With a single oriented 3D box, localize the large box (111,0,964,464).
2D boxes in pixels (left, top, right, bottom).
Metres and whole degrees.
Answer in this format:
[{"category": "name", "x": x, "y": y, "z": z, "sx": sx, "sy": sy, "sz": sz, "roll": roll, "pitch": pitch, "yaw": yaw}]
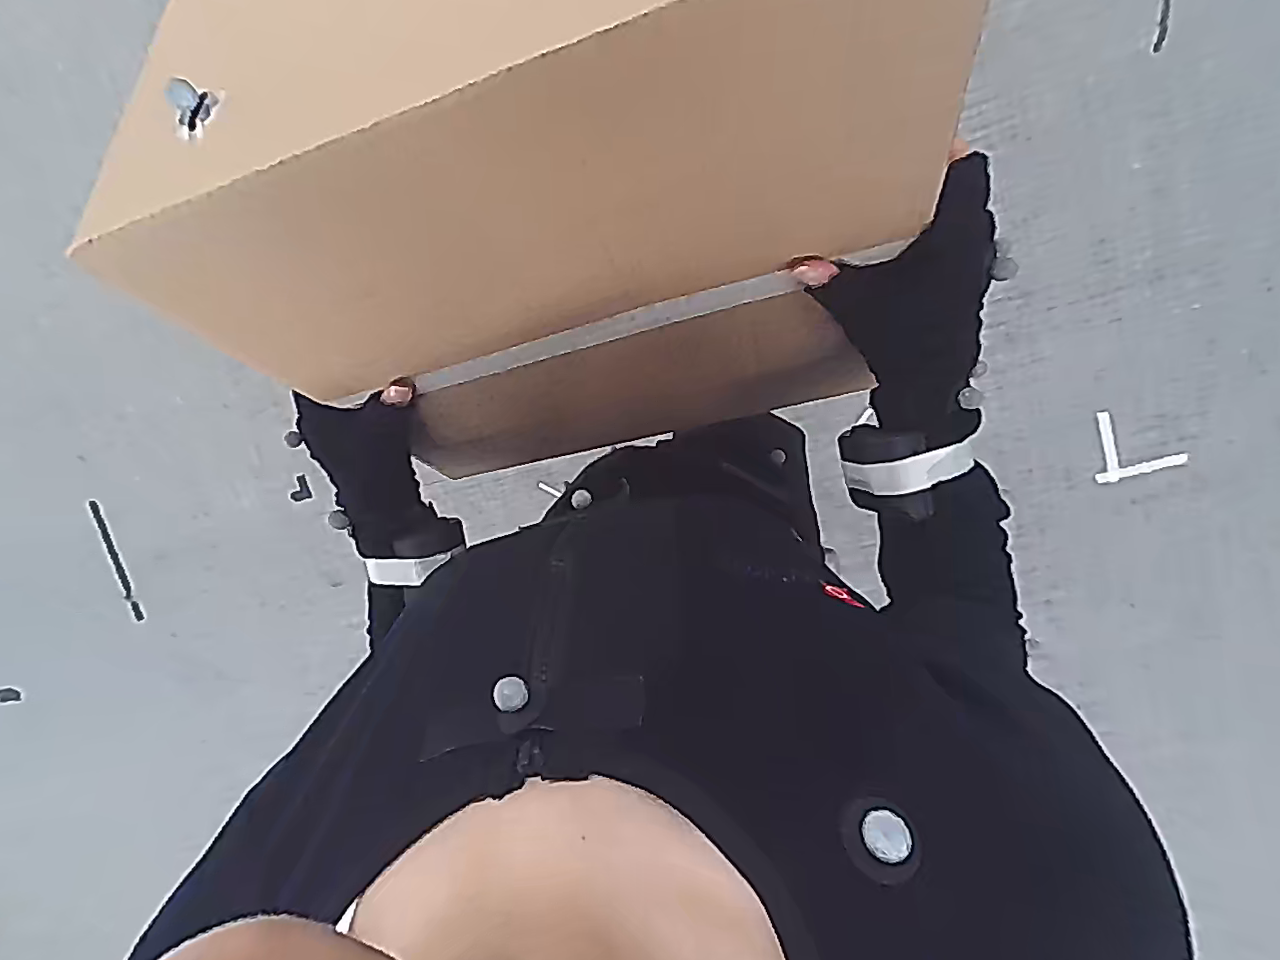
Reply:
[{"category": "large box", "x": -0.047, "y": -0.244, "z": 0.410, "sx": 0.408, "sy": 0.320, "sz": 0.320, "roll": -11, "pitch": 68, "yaw": 13}]
